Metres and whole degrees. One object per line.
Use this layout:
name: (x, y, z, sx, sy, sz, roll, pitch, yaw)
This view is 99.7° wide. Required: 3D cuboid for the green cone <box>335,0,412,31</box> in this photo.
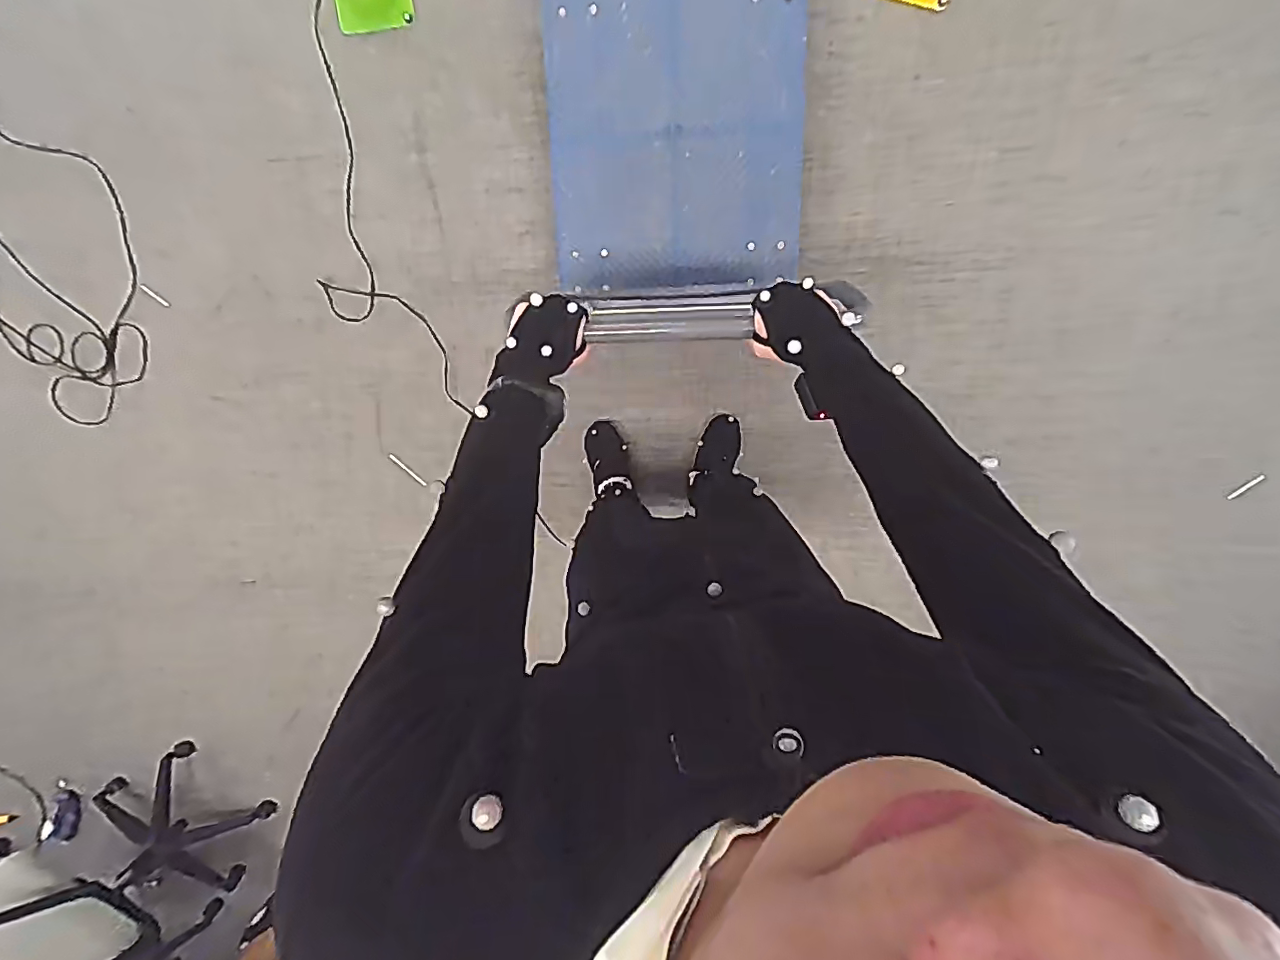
green cone: (-0.693, -1.208, 1.181, 0.202, 0.368, 0.200, -4, 104, 7)
